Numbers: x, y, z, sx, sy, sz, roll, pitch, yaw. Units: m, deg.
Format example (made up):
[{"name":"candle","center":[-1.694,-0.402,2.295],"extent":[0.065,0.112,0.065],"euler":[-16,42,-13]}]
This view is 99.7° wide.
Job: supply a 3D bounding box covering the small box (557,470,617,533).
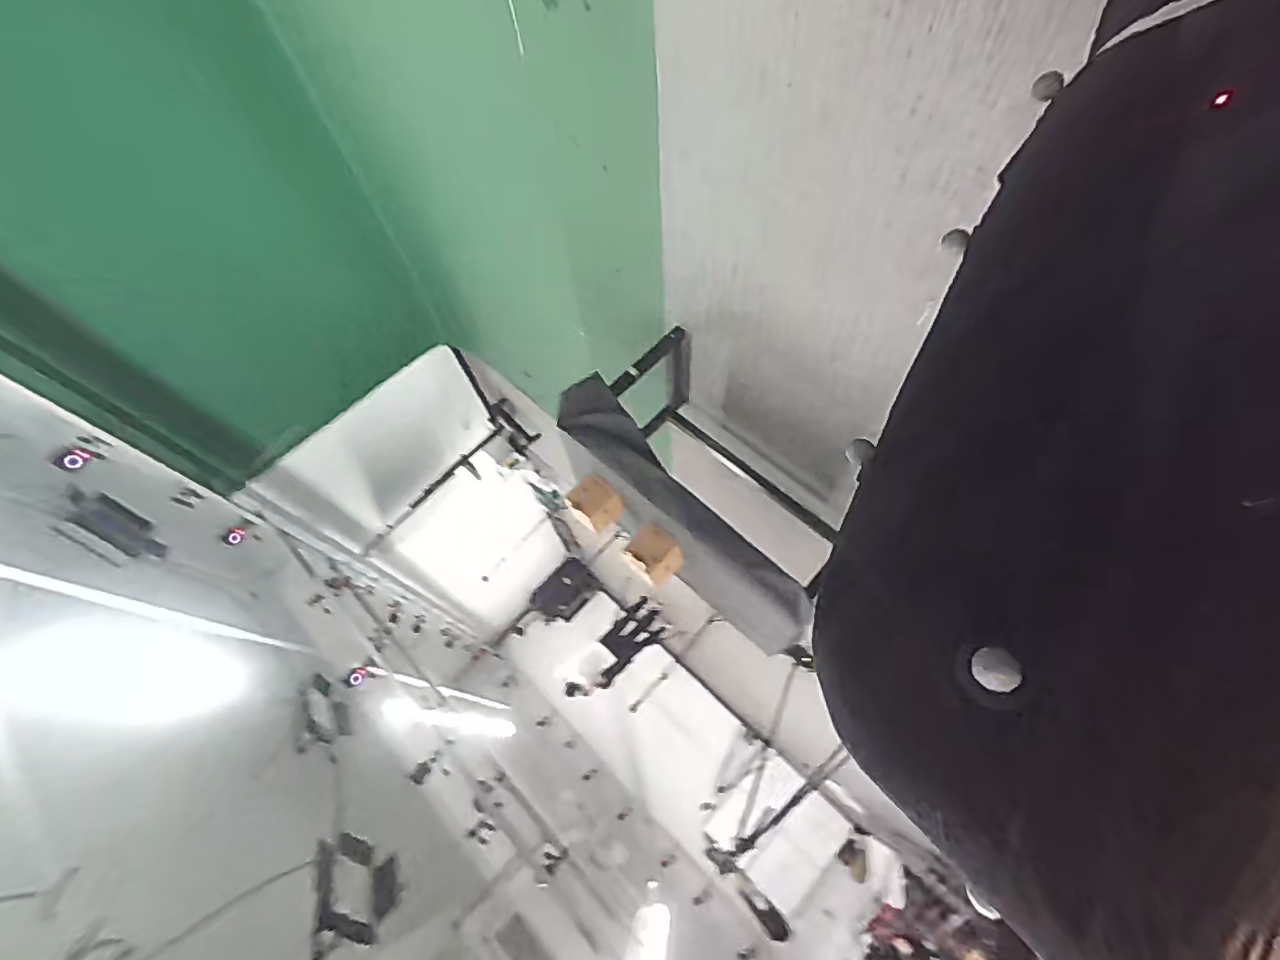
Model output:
[{"name":"small box","center":[-0.223,0.089,2.318],"extent":[0.168,0.176,0.179],"euler":[38,162,27]}]
